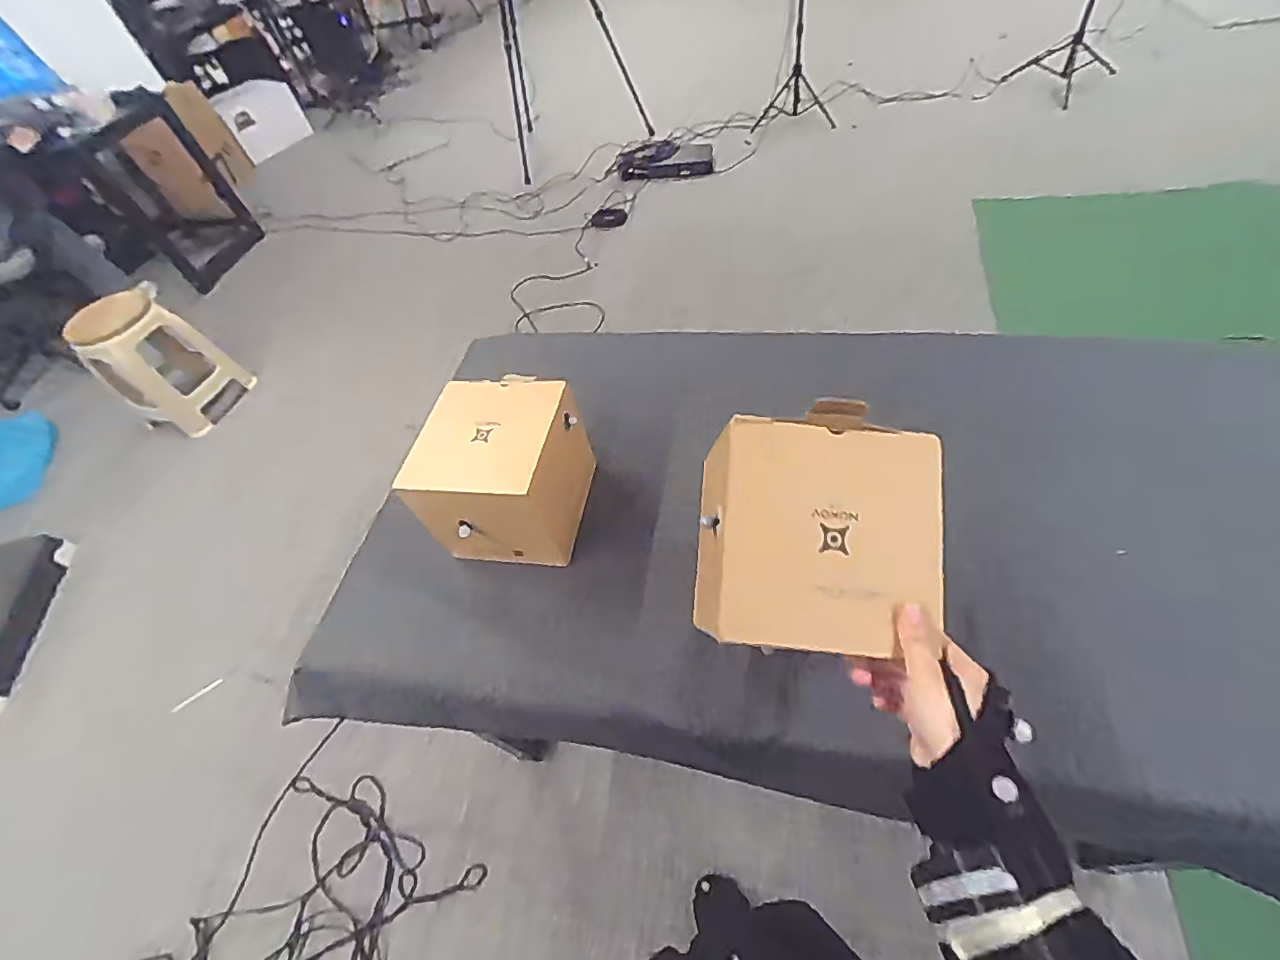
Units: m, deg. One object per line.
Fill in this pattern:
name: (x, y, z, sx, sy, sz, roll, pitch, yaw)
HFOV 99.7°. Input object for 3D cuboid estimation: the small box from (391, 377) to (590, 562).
small box: (-0.173, -0.010, 0.692, 0.168, 0.176, 0.179, 2, 53, 12)

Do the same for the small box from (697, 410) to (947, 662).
small box: (0.145, 0.054, 0.481, 0.168, 0.176, 0.179, 6, 79, 0)
